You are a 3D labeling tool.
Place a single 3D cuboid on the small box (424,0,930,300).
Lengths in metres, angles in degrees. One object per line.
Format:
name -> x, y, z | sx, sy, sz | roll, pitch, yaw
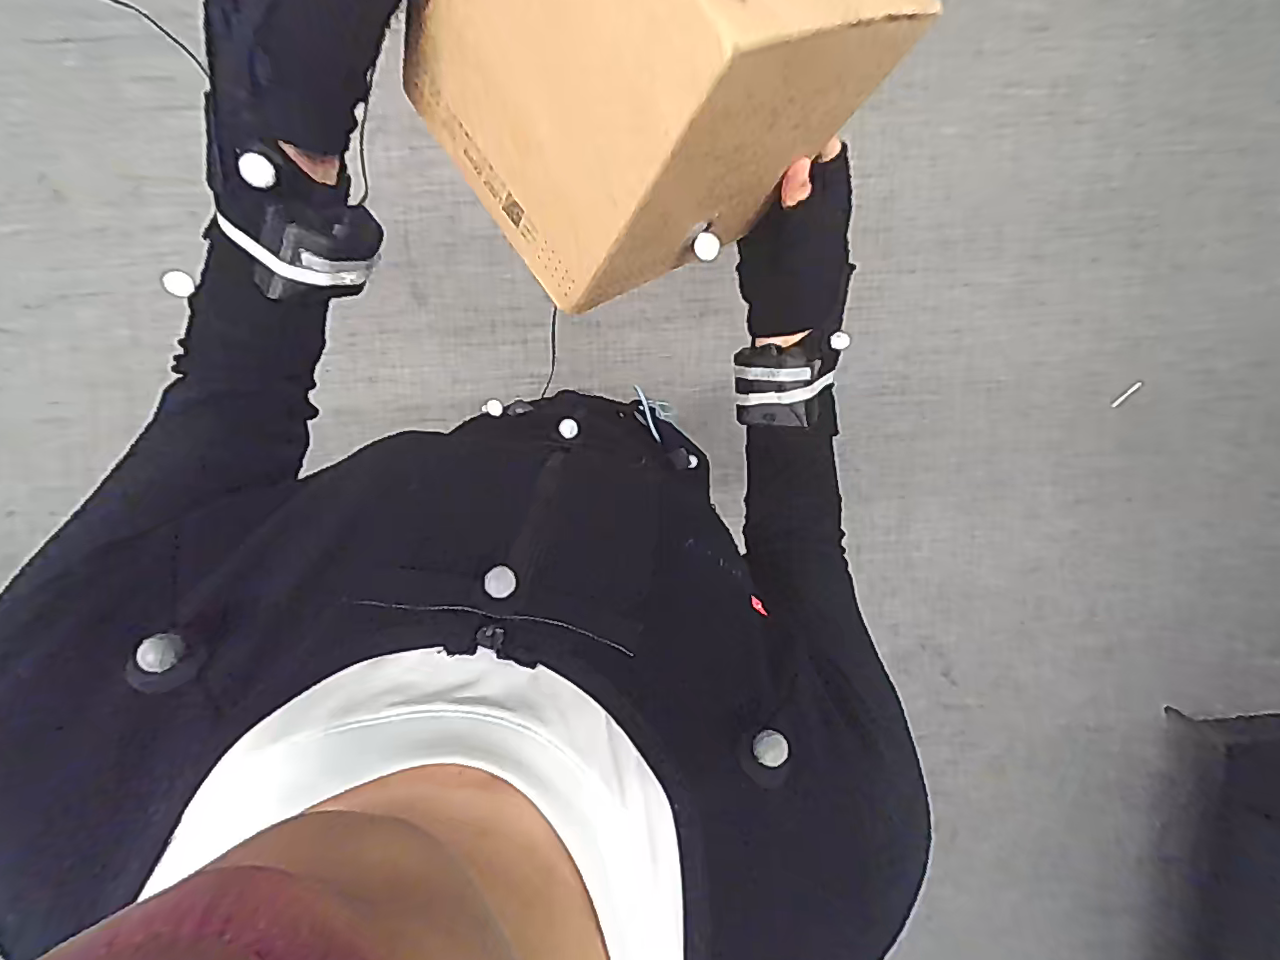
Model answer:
small box -> 0.008, -0.232, 0.294 | 0.179, 0.176, 0.168 | -37, 94, -31
